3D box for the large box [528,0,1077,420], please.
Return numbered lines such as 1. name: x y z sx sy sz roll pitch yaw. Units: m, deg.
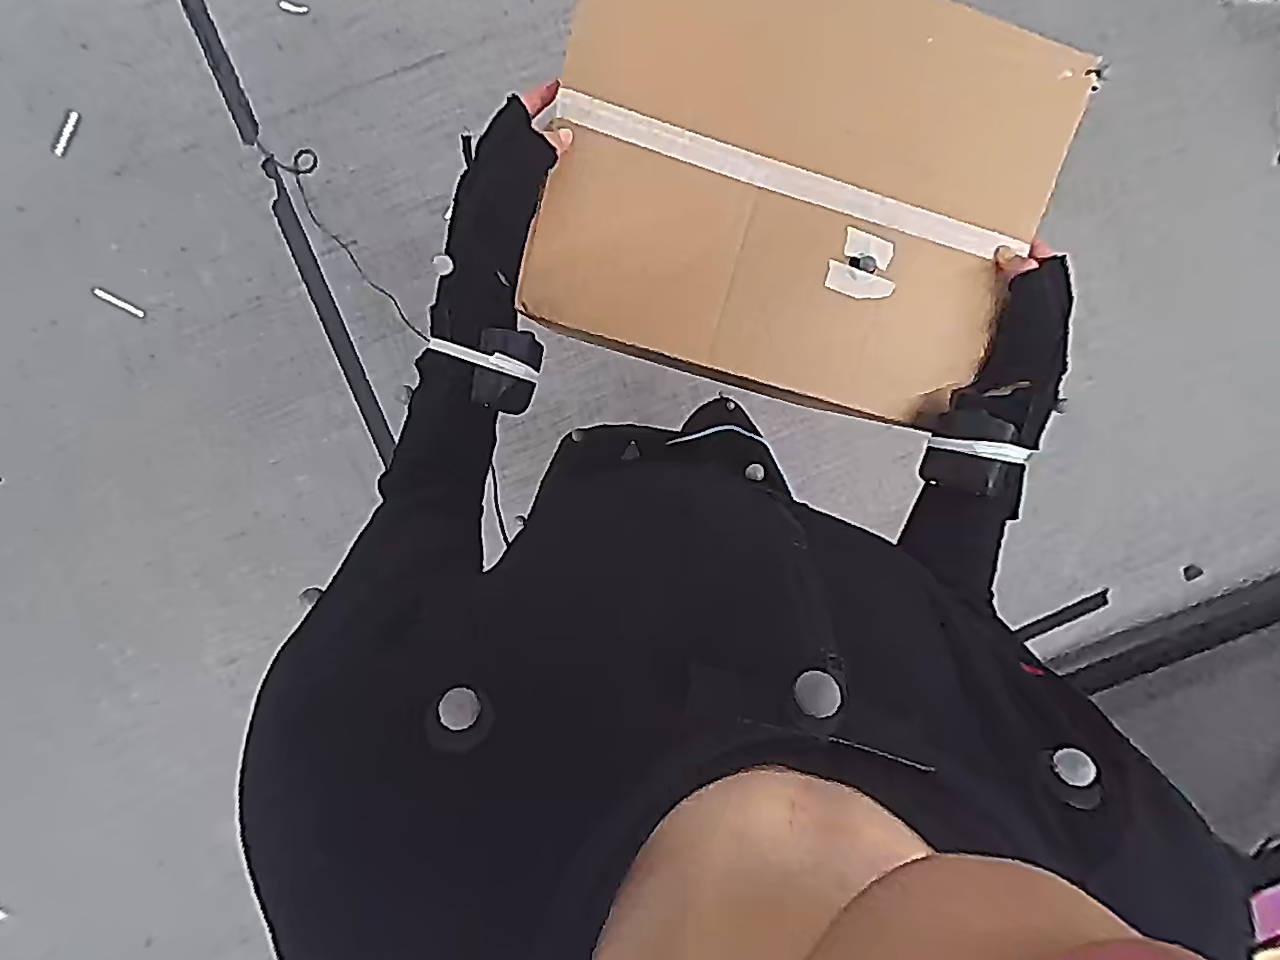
1. large box: 0.120 -0.276 0.592 0.408 0.320 0.320 15 102 -8
